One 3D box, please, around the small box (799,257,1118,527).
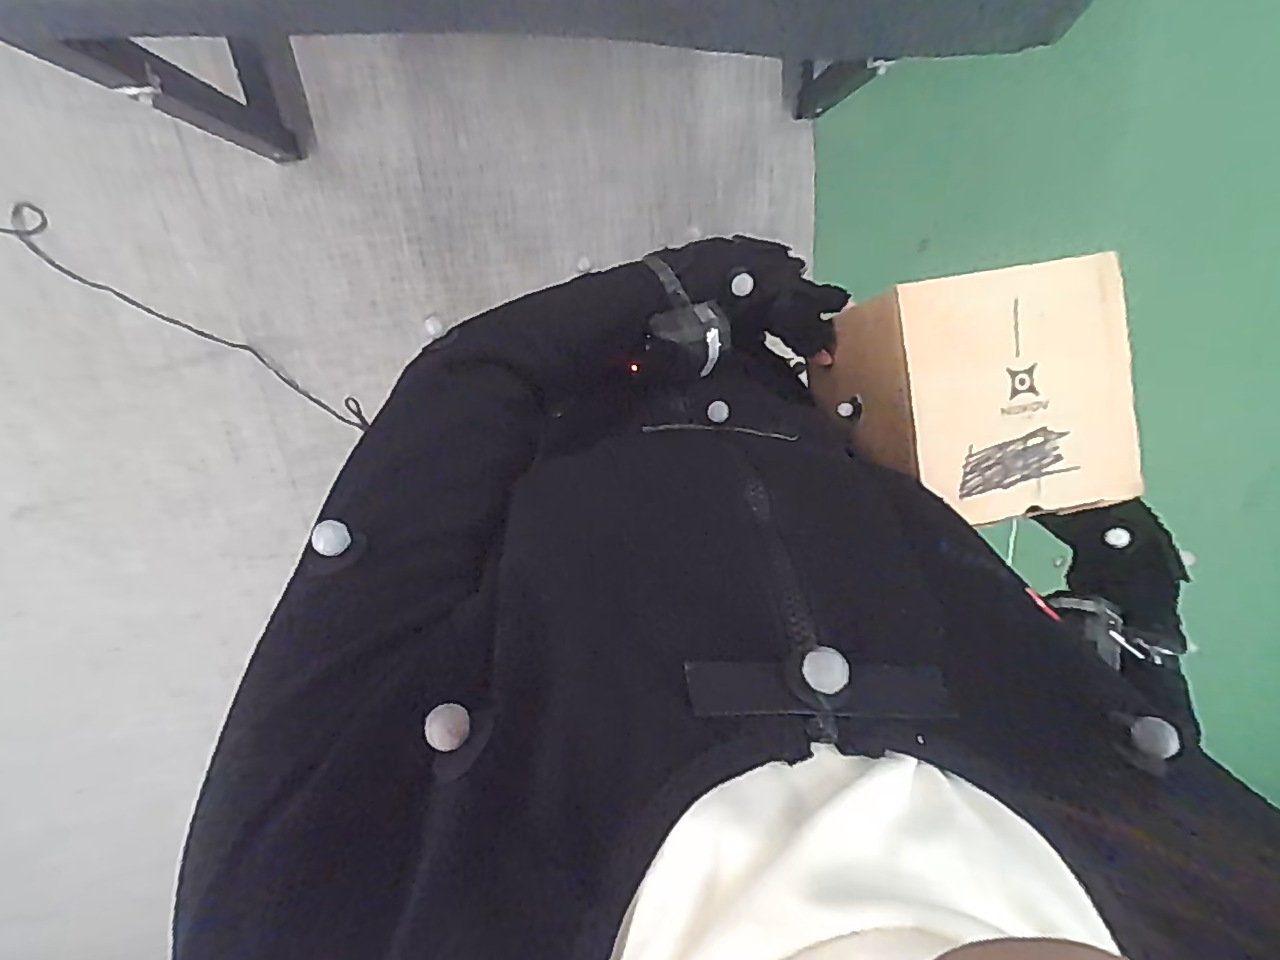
[{"bbox_3d":[0.253,-0.068,0.465,0.168,0.176,0.179,-9,94,-5],"label":"small box"}]
